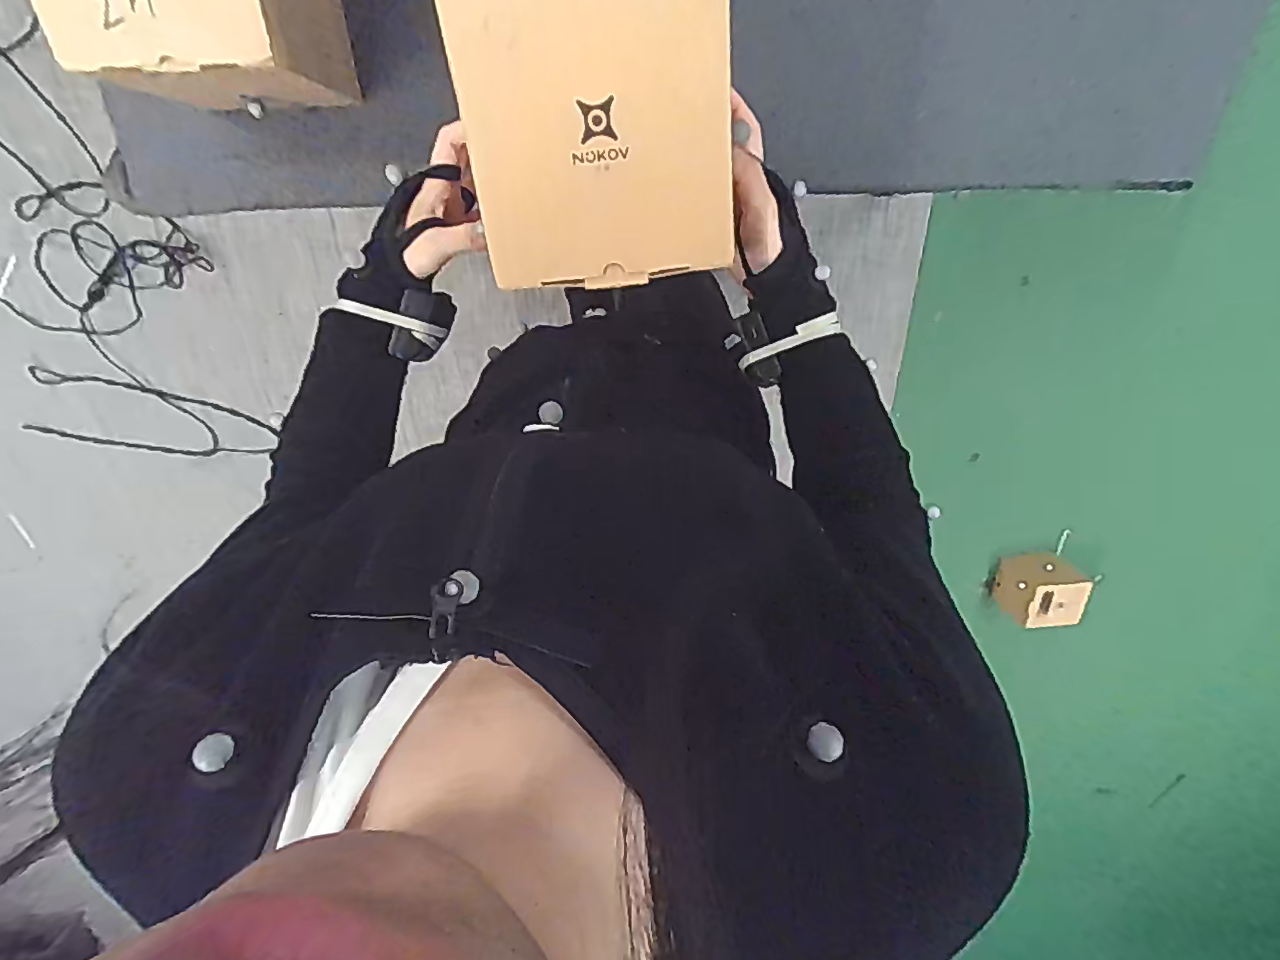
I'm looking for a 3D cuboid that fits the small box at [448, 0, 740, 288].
[{"bbox_3d":[-0.024,-0.251,0.400,0.168,0.176,0.179,-5,119,1],"label":"small box"}]

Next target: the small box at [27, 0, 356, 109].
[{"bbox_3d":[-0.368,-0.428,0.448,0.168,0.176,0.179,-3,116,-2],"label":"small box"}]
